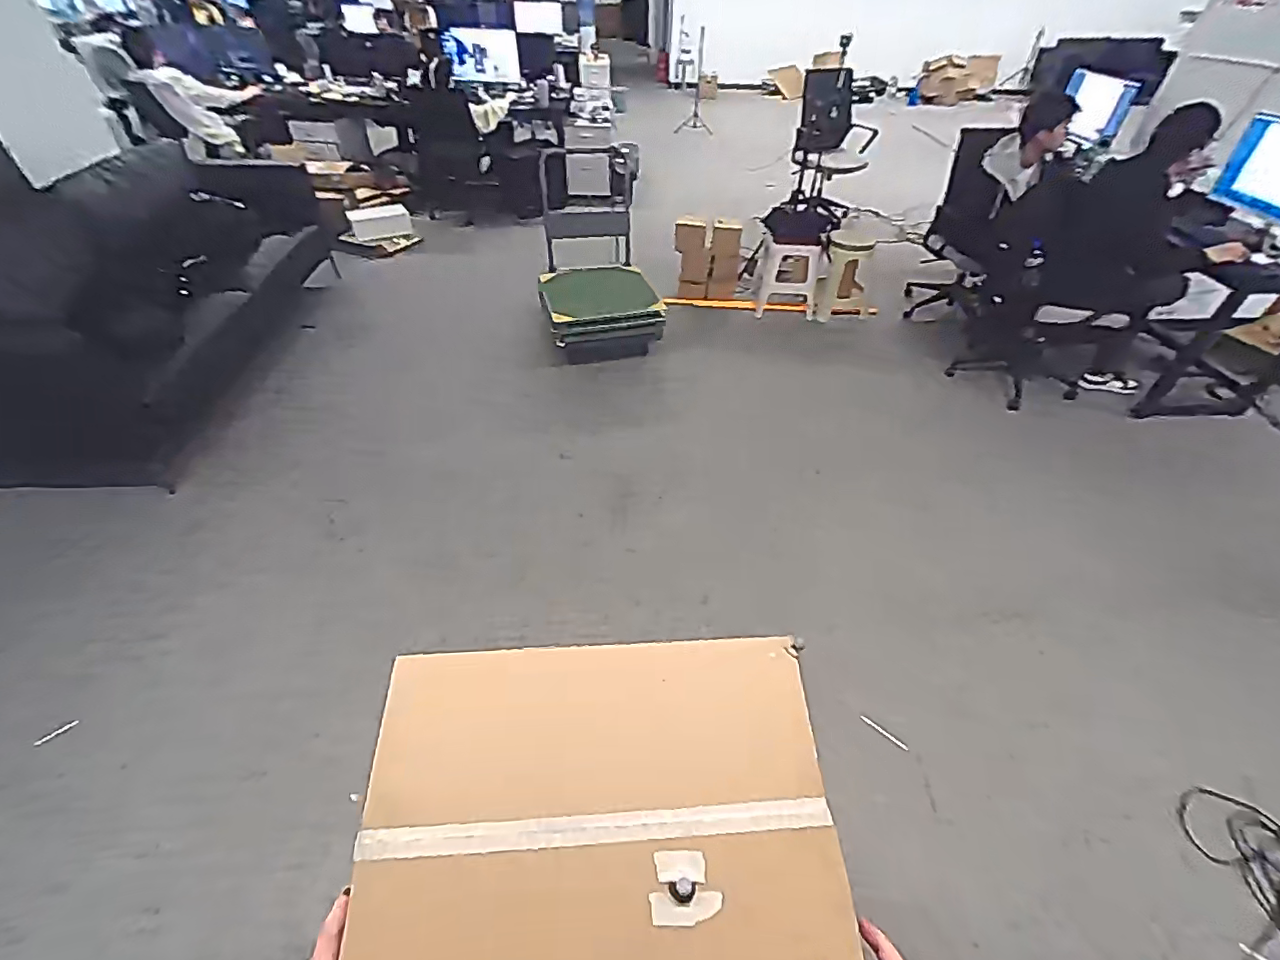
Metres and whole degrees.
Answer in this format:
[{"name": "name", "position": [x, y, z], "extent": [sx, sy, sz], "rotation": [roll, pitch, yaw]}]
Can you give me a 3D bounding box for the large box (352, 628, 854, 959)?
[{"name": "large box", "position": [-0.042, 0.378, 0.608], "extent": [0.408, 0.320, 0.320], "rotation": [-2, 57, -4]}]
